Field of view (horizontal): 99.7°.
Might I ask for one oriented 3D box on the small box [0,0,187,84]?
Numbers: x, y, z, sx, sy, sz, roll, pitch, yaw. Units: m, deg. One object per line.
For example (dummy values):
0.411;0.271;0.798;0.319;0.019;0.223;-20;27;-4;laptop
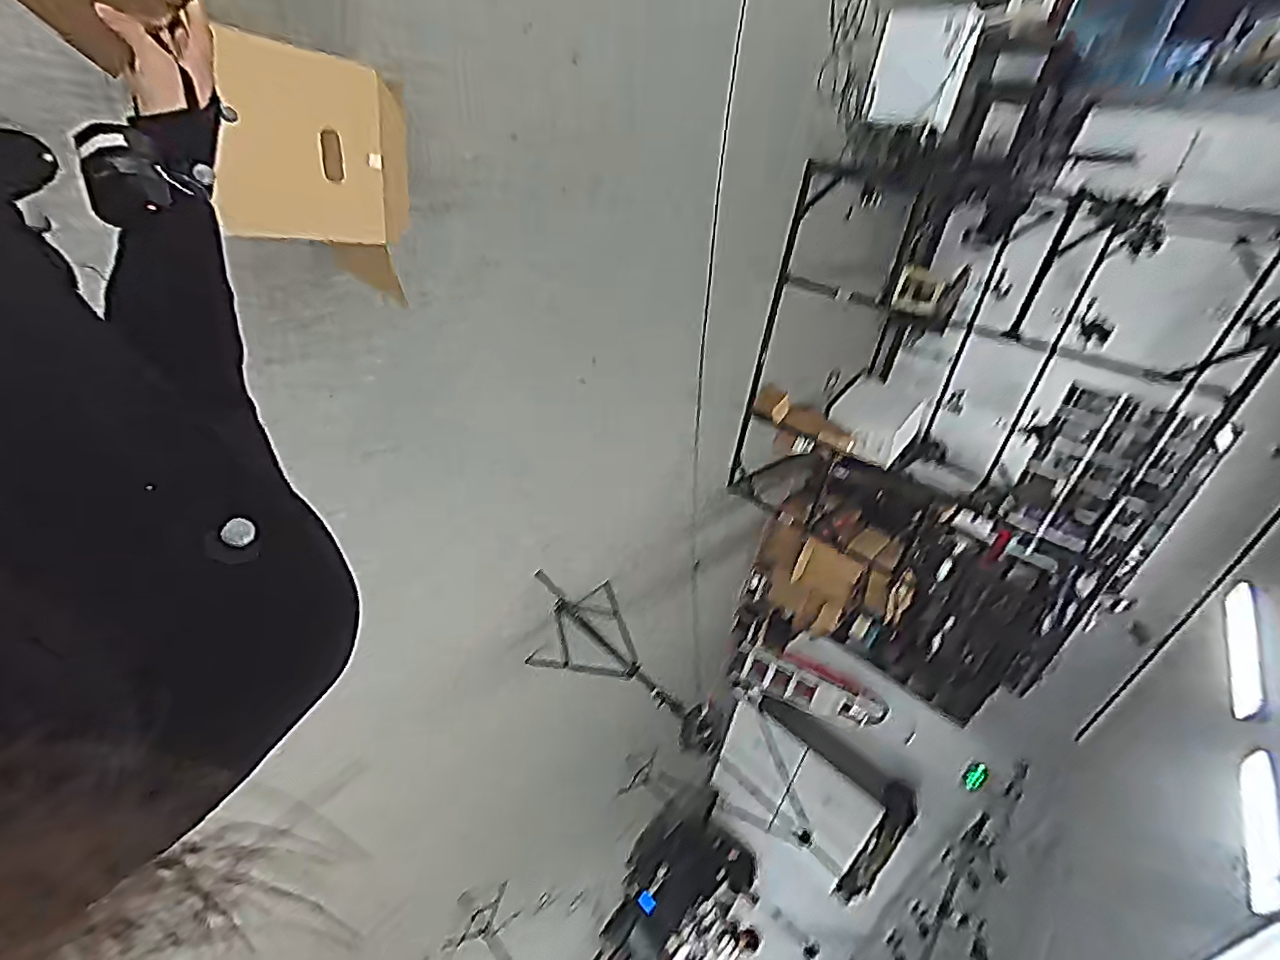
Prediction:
-0.501;-0.487;0.433;0.168;0.176;0.179;-42;161;5;small box
